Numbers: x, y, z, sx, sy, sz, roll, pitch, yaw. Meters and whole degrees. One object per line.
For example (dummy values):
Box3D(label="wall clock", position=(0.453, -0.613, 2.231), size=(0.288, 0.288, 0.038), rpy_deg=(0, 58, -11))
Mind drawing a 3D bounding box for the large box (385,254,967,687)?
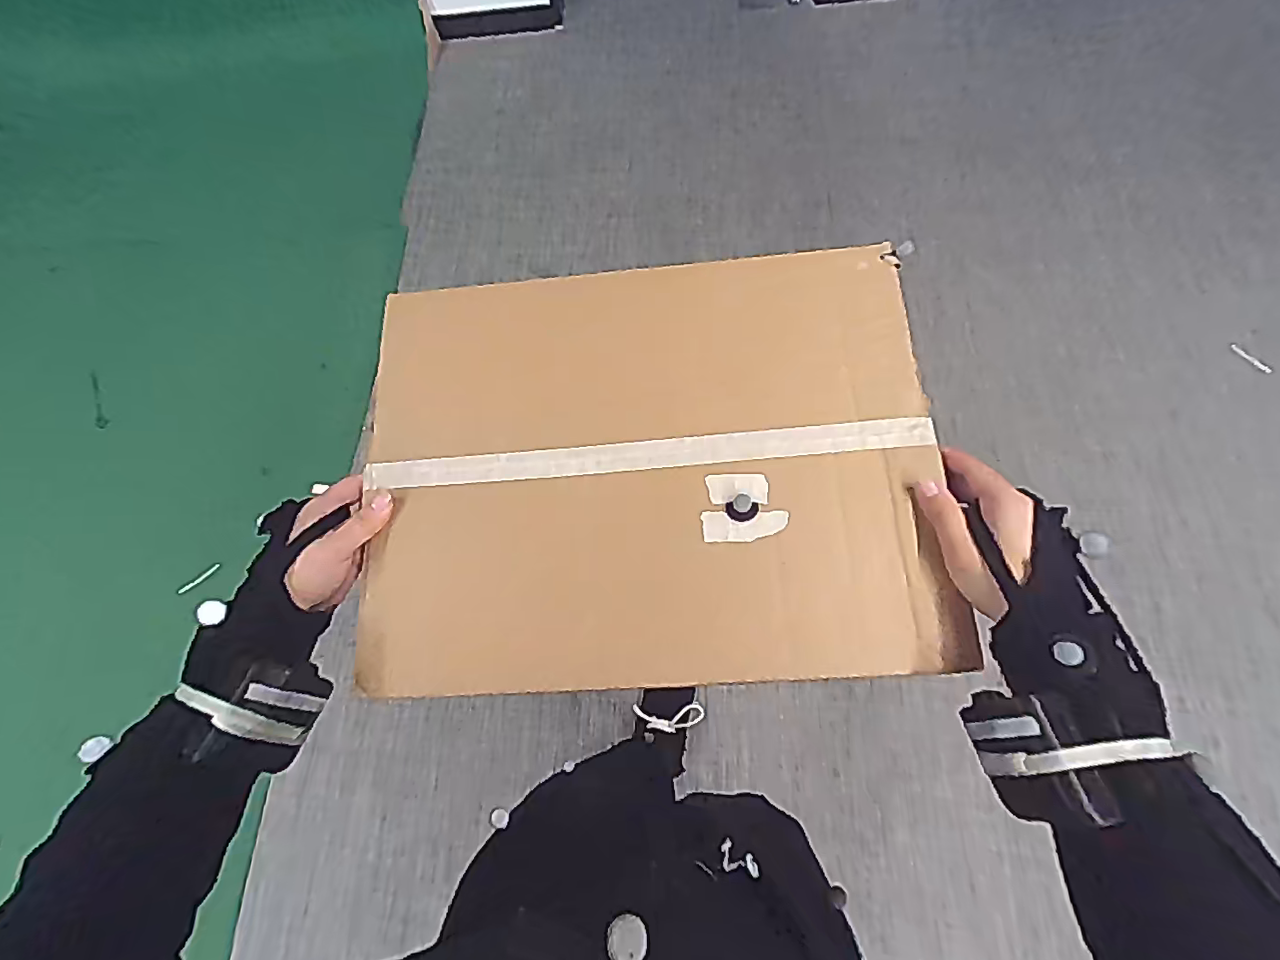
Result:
Box3D(label="large box", position=(0.019, 0.021, 0.548), size=(0.408, 0.320, 0.320), rpy_deg=(-4, 74, 3))
